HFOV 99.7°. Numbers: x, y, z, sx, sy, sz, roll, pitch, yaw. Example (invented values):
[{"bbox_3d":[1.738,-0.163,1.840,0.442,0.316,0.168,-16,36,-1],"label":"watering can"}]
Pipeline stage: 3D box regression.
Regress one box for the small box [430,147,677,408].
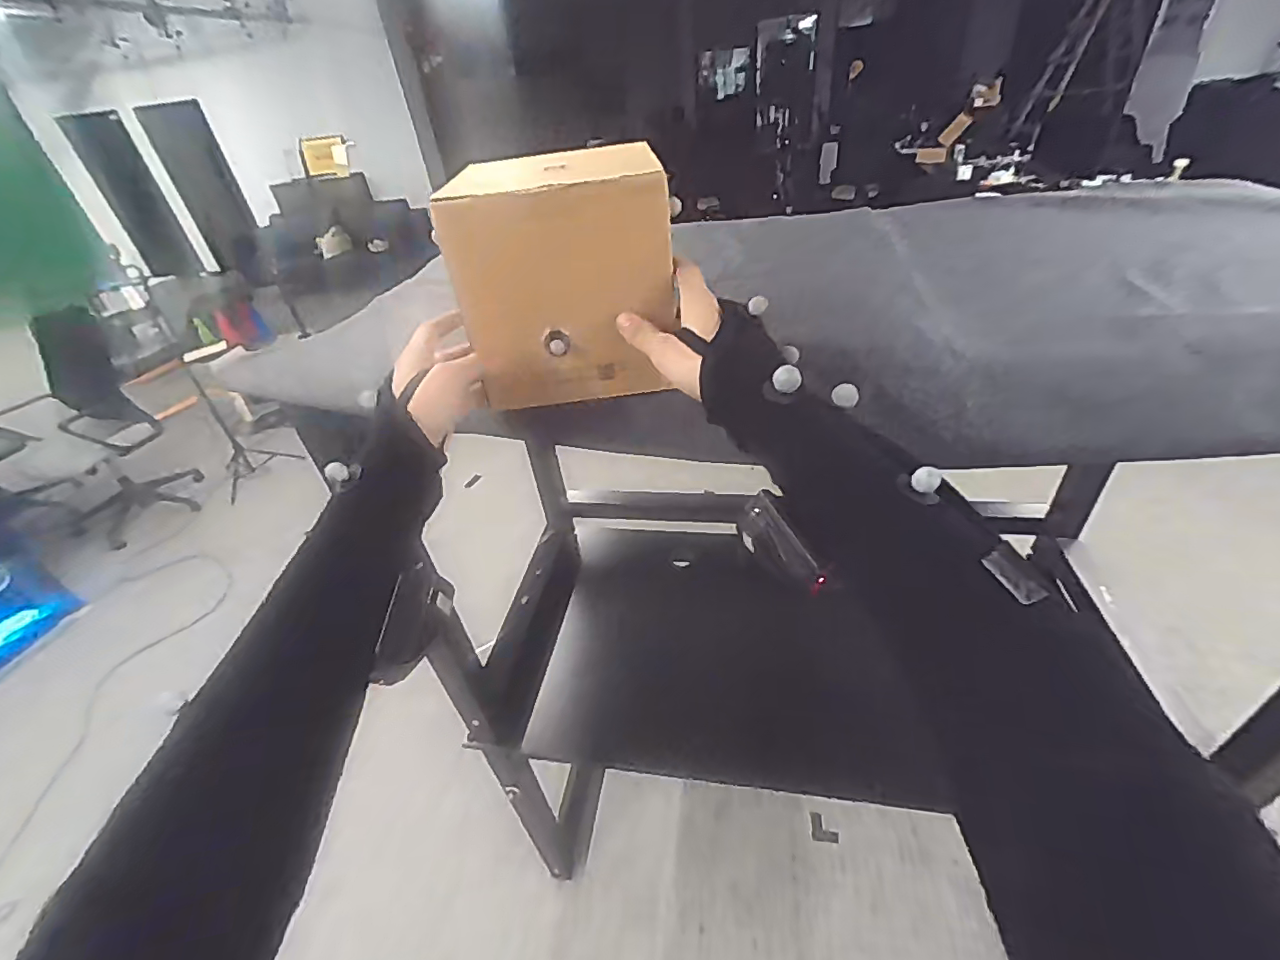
[{"bbox_3d":[-0.060,-0.182,0.480,0.168,0.176,0.179,-7,37,1],"label":"small box"}]
